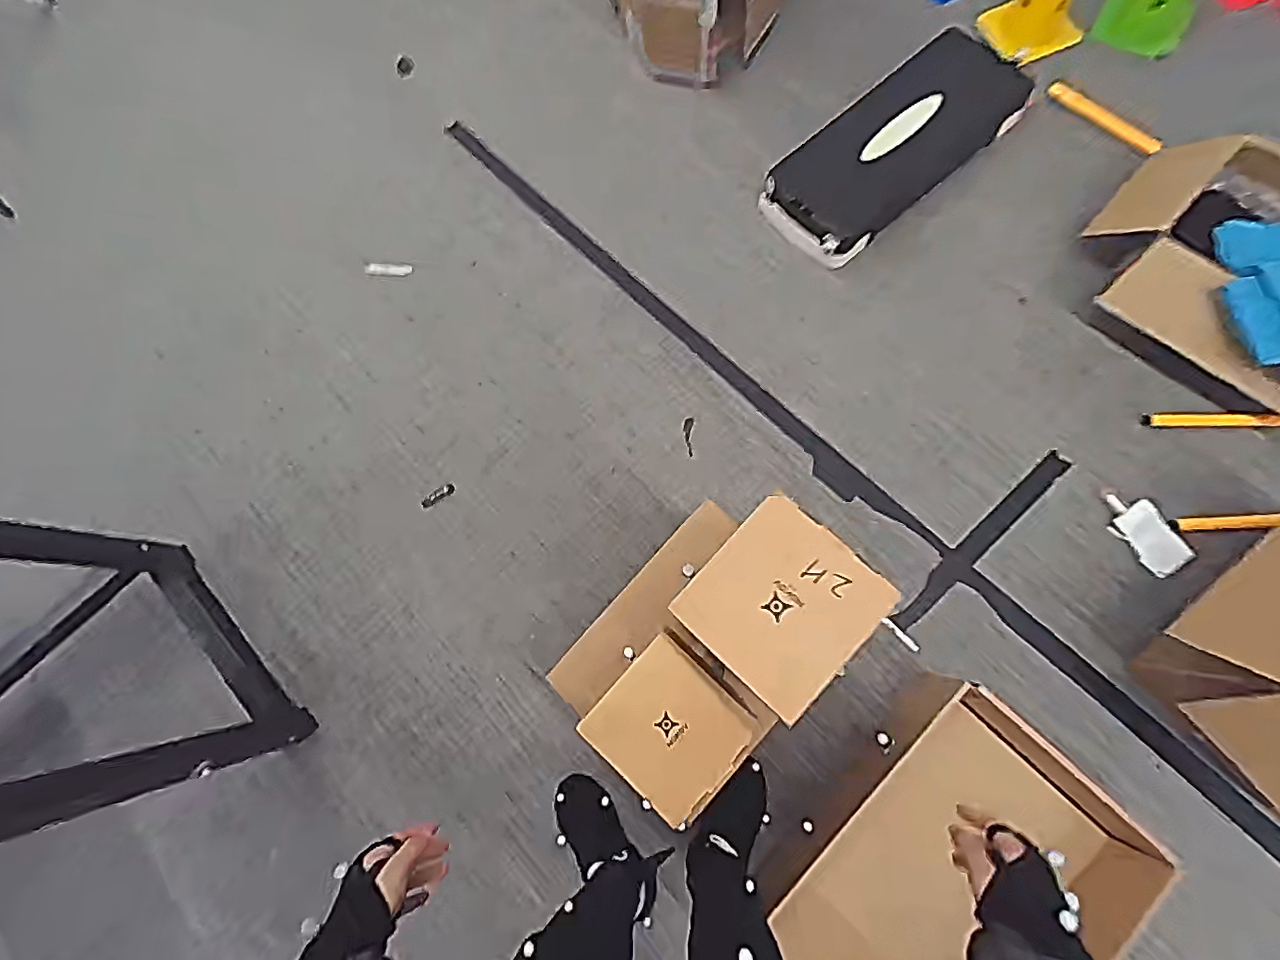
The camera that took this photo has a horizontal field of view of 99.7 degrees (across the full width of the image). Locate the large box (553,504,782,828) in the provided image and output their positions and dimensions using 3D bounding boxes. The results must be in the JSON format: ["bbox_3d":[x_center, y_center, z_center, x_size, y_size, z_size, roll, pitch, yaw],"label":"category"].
[{"bbox_3d":[0.113,0.311,1.002,0.320,0.320,0.408,41,84,14],"label":"large box"}]

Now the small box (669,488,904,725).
[{"bbox_3d":[0.154,0.140,0.617,0.168,0.176,0.179,42,84,13],"label":"small box"}]
